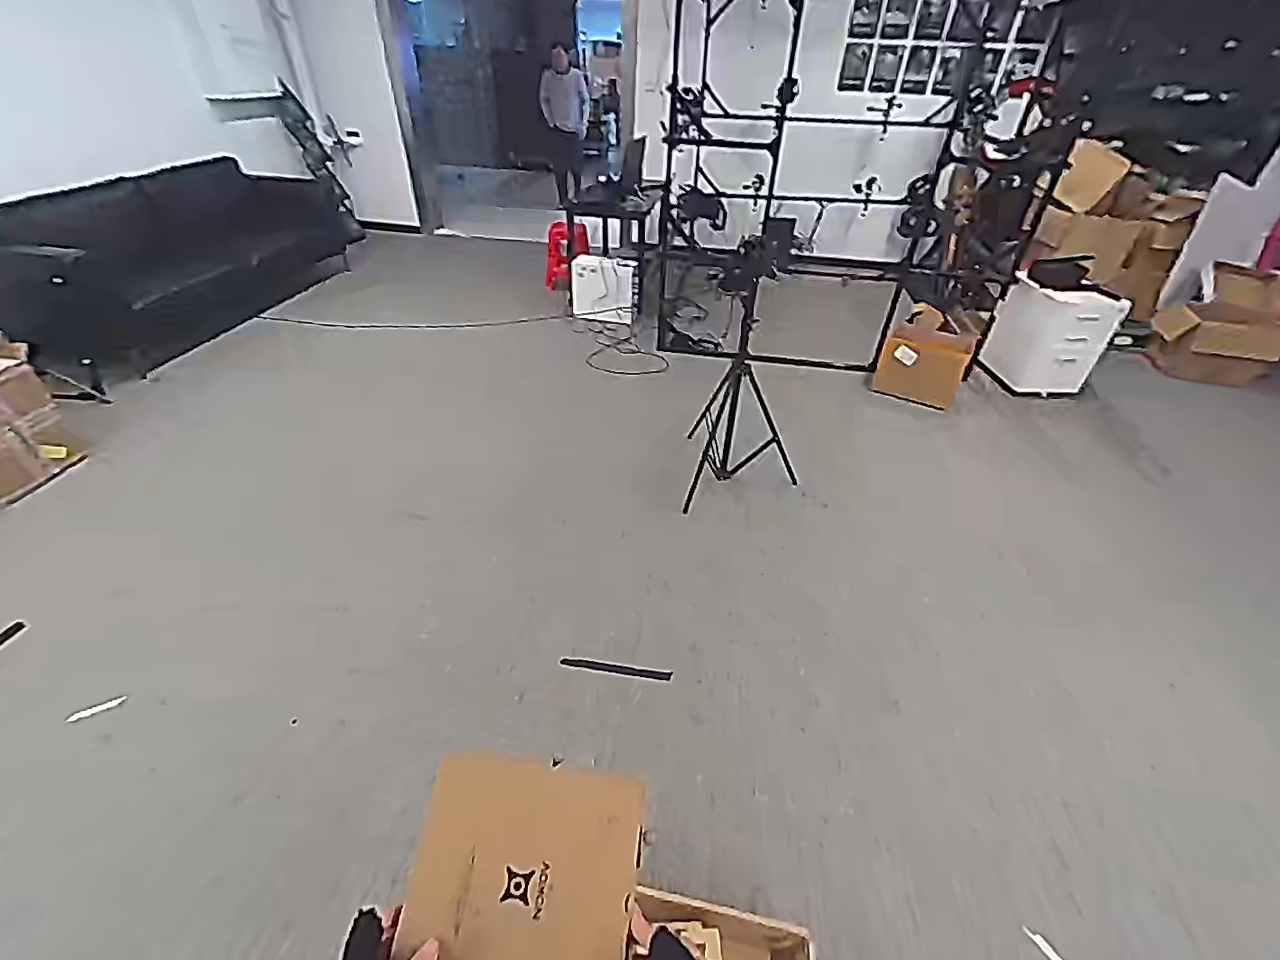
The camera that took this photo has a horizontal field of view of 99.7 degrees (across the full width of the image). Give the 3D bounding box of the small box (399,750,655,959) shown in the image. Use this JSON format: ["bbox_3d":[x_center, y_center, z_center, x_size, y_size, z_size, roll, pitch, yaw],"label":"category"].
[{"bbox_3d":[-0.083,0.342,0.482,0.179,0.176,0.168,5,62,3],"label":"small box"}]
